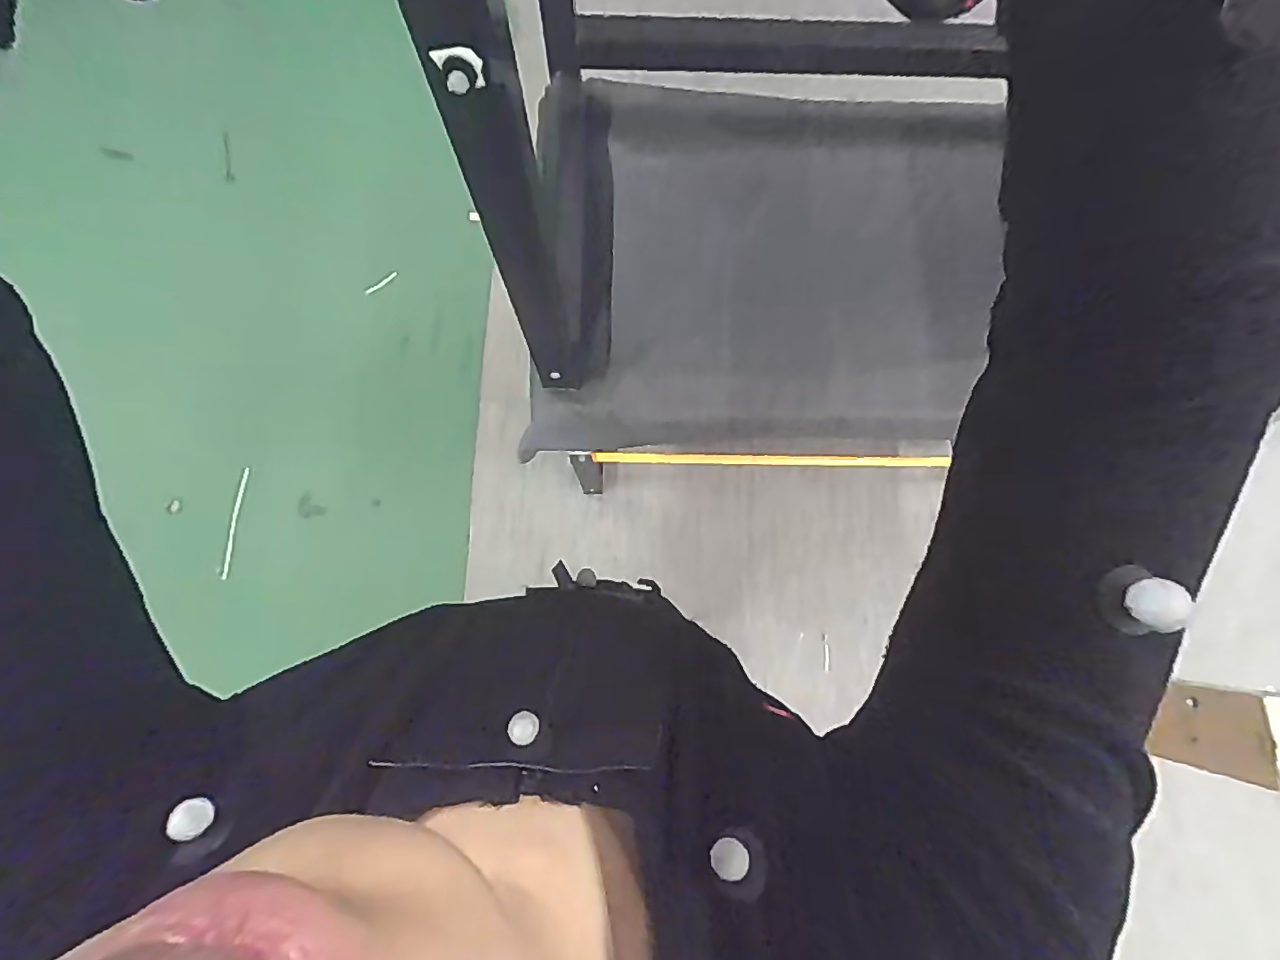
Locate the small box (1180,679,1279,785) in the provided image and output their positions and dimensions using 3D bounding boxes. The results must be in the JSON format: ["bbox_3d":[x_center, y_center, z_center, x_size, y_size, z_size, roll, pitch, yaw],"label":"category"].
[{"bbox_3d":[1.221,0.491,1.062,0.179,0.176,0.168,4,77,0],"label":"small box"}]
